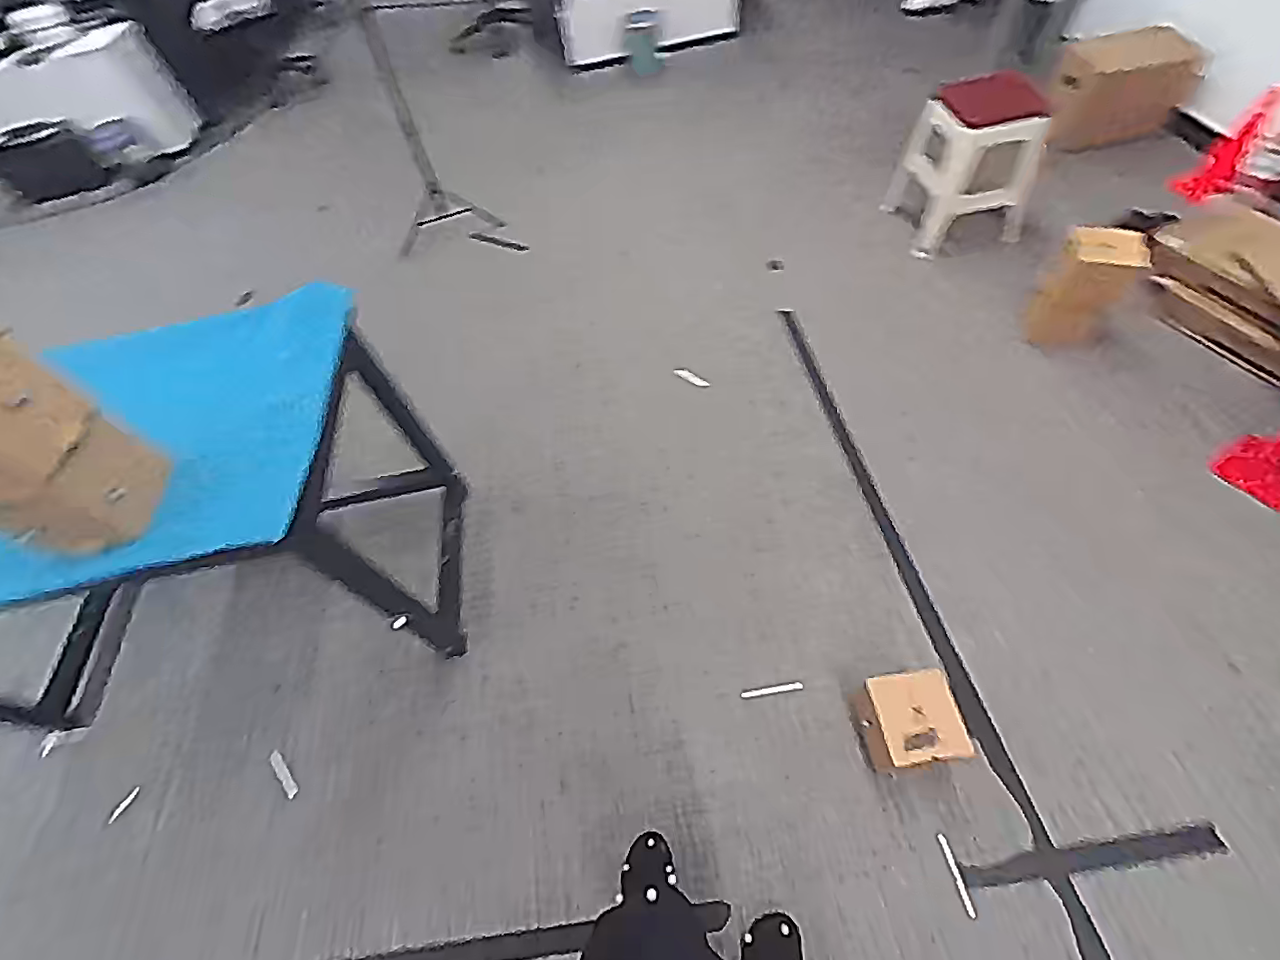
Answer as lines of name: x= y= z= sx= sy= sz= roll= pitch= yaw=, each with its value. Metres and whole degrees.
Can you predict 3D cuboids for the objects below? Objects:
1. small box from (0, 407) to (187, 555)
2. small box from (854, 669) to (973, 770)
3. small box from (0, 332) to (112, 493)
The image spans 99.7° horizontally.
small box: x=-0.938 y=0.000 z=0.915 sx=0.168 sy=0.176 sz=0.179 roll=-12 pitch=55 yaw=1
small box: x=0.600 y=0.542 z=1.212 sx=0.168 sy=0.176 sz=0.179 roll=-9 pitch=55 yaw=2
small box: x=-0.954 y=-0.096 z=0.783 sx=0.179 sy=0.176 sz=0.168 roll=-12 pitch=54 yaw=4
